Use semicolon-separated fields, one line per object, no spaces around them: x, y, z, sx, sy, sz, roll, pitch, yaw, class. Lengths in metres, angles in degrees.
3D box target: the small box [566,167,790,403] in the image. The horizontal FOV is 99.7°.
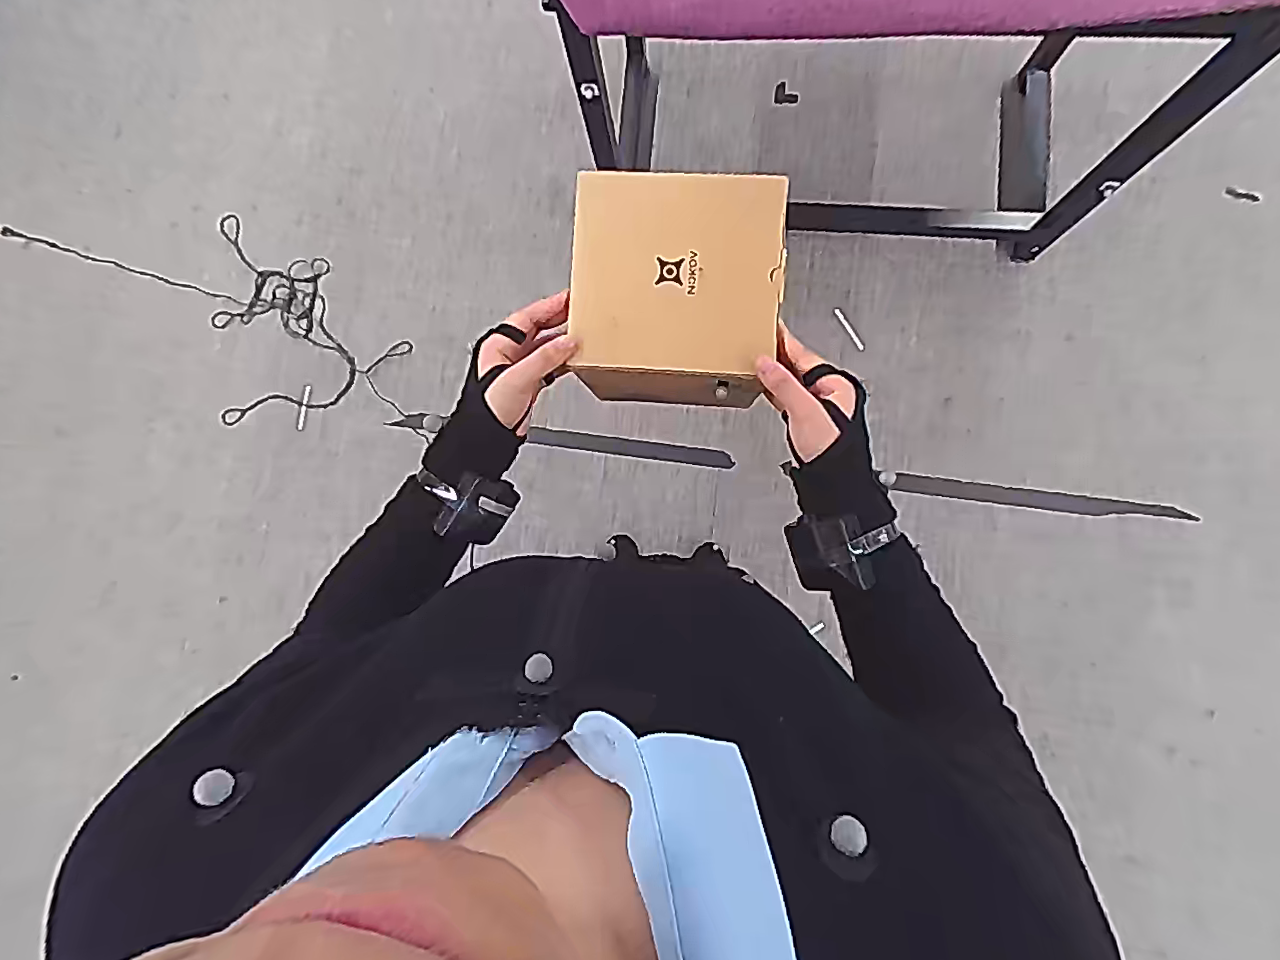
0.036;-0.171;0.524;0.179;0.176;0.168;4;89;4;small box
